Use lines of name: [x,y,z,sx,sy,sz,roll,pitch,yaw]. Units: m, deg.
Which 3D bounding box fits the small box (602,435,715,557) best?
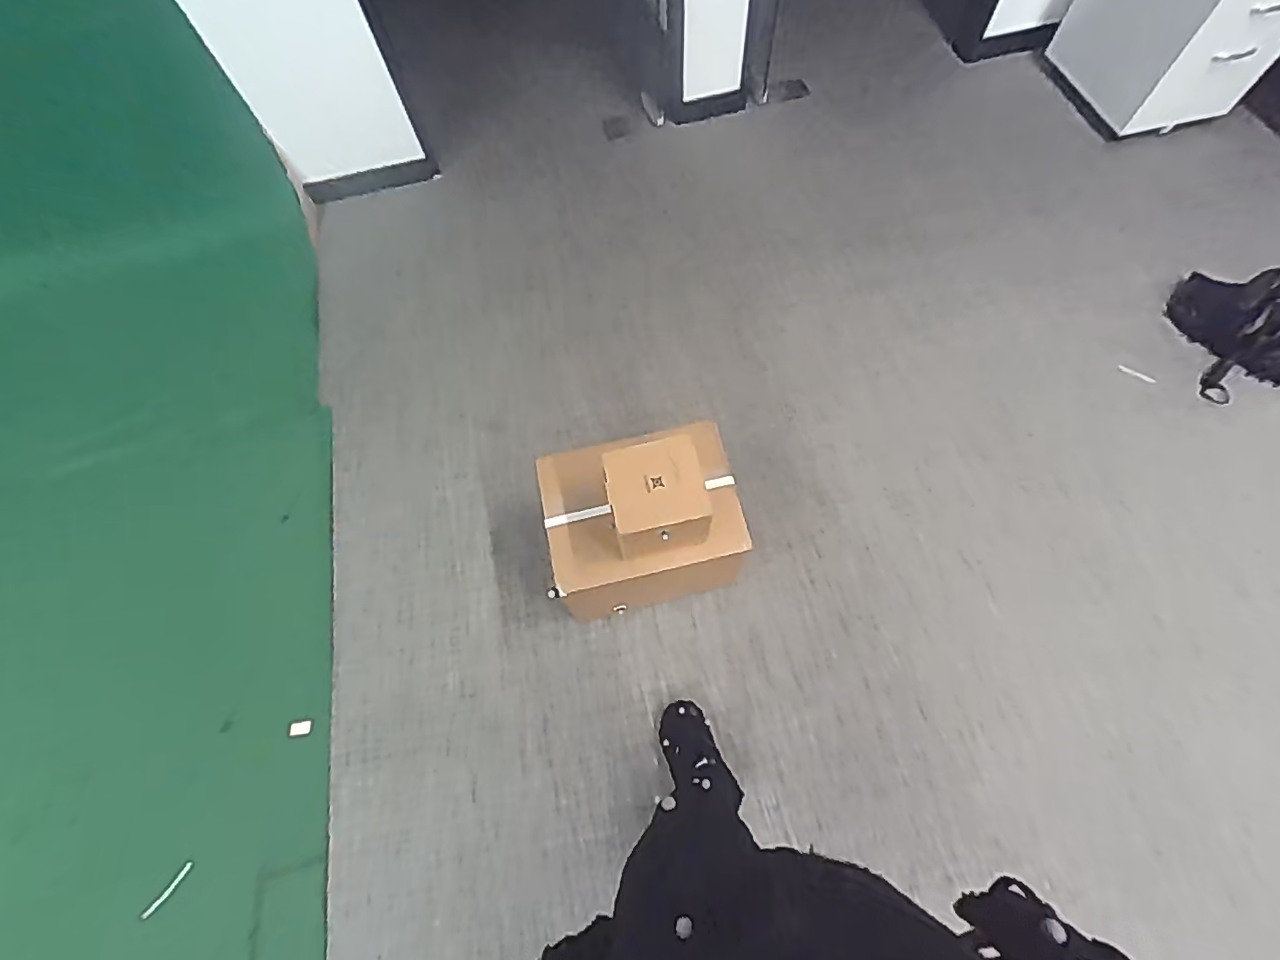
small box: [0.036,0.038,1.044,0.179,0.176,0.168,-14,68,-3]
